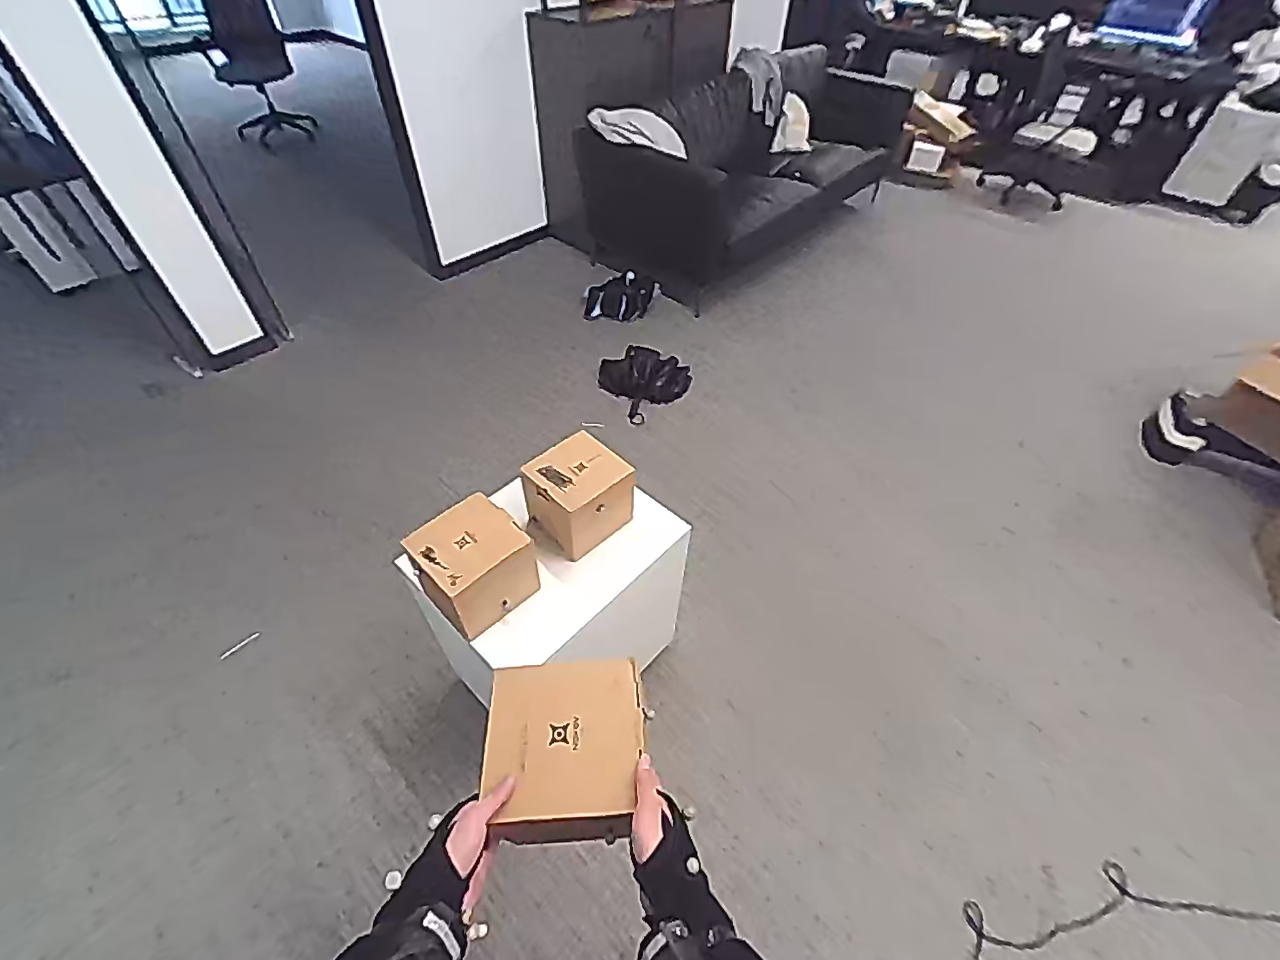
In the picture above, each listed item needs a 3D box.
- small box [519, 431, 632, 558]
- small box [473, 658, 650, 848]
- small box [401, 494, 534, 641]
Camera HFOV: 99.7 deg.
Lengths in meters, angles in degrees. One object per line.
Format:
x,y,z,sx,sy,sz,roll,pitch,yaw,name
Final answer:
-0.132,0.034,1.156,0.179,0.176,0.168,-35,58,-30,small box
-0.080,0.334,0.655,0.179,0.176,0.168,-6,48,2,small box
-0.317,0.166,1.028,0.168,0.176,0.179,36,54,27,small box
